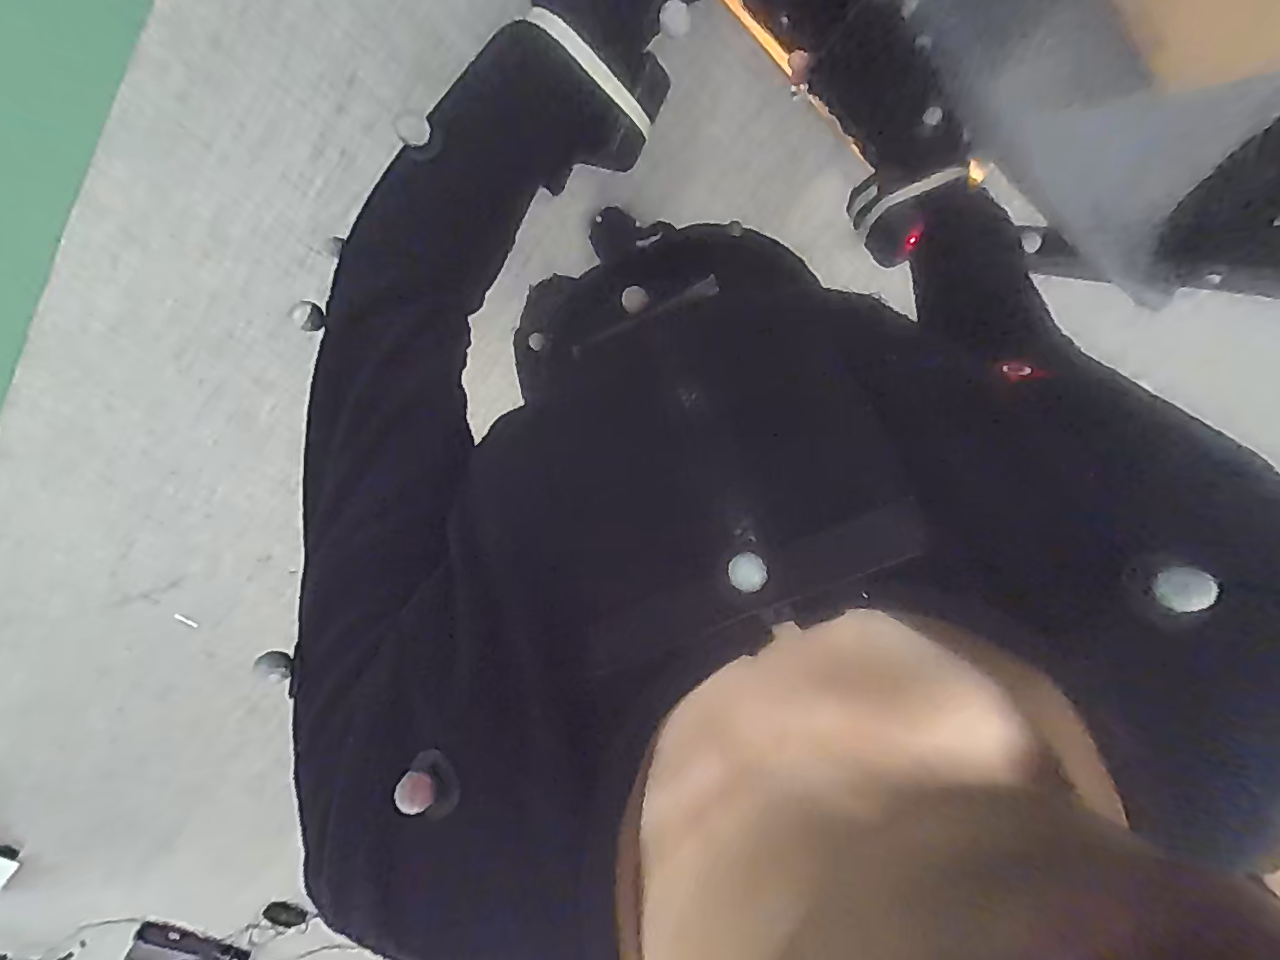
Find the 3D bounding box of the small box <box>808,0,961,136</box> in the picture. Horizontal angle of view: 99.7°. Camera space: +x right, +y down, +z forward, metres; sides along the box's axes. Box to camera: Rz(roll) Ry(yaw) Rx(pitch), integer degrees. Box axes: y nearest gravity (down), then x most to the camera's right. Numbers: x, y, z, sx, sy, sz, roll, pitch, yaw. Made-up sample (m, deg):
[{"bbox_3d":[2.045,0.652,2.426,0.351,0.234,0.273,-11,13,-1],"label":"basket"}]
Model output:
[{"bbox_3d":[0.434,-0.775,0.999,0.168,0.176,0.179,39,109,-20],"label":"small box"}]
